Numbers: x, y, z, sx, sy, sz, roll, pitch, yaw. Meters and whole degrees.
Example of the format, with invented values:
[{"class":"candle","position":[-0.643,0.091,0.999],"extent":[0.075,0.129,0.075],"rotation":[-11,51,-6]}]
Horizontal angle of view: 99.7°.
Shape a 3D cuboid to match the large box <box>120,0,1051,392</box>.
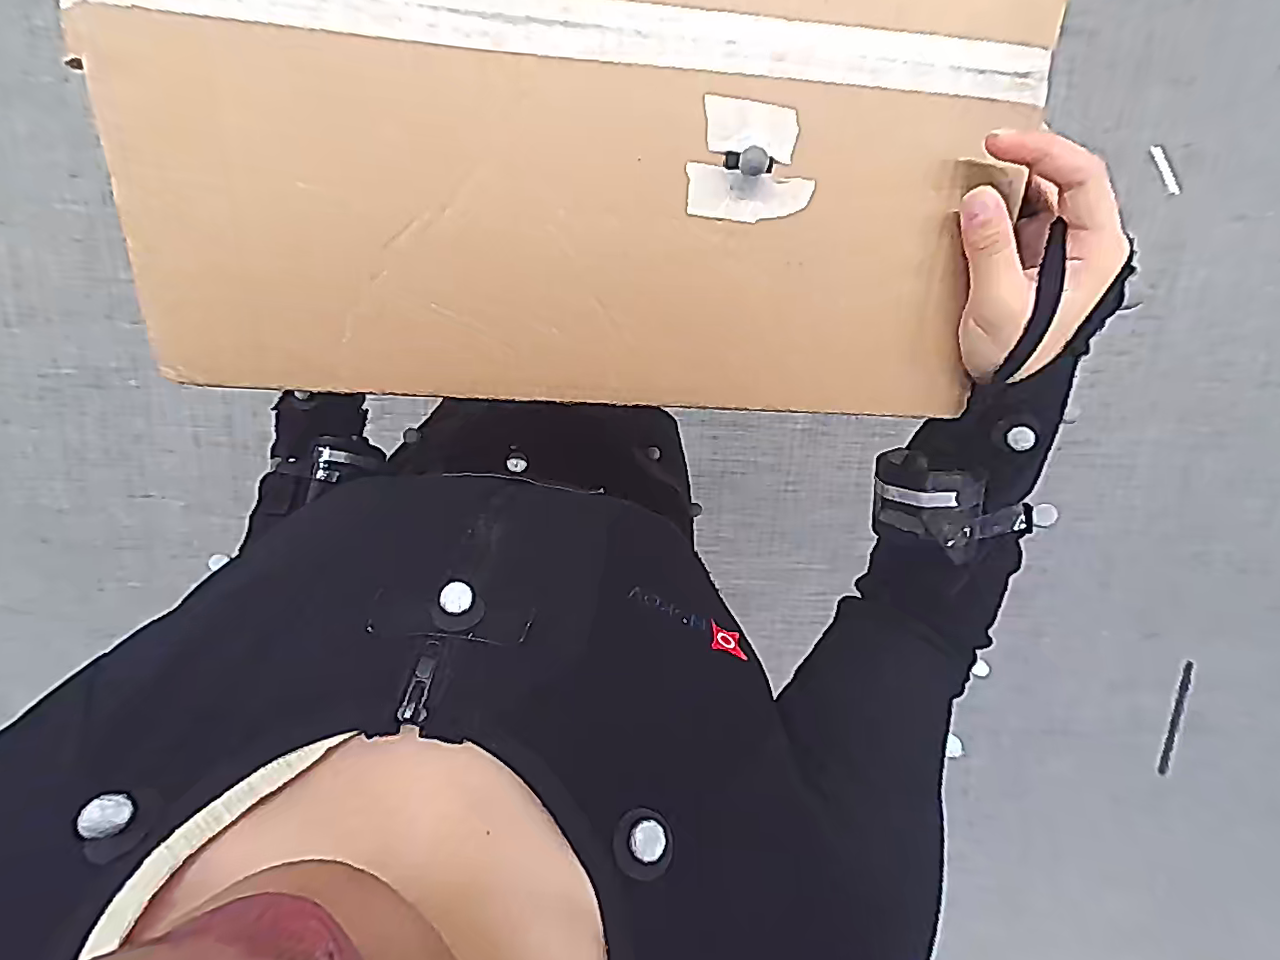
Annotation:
[{"class":"large box","position":[-0.028,-0.242,0.377],"extent":[0.408,0.320,0.320],"rotation":[1,109,-8]}]
